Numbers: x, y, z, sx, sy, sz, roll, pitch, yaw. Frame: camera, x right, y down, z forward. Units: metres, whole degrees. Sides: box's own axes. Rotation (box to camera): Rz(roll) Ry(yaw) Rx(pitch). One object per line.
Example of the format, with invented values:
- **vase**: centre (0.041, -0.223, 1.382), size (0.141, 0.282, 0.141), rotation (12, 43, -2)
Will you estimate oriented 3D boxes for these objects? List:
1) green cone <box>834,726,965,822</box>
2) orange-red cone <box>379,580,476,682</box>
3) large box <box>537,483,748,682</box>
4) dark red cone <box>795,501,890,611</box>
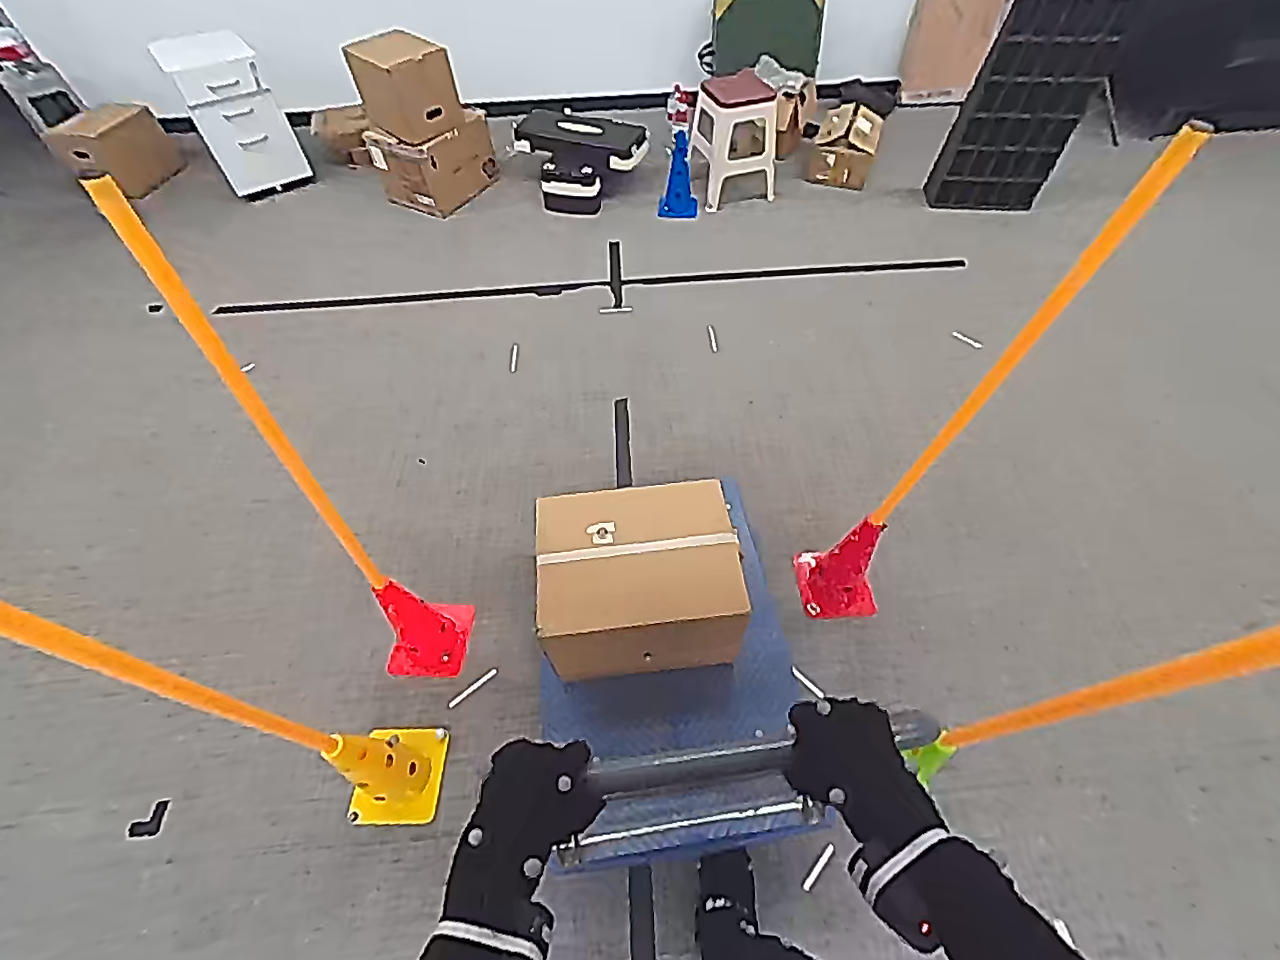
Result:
- **green cone**: centre (0.568, 0.583, 1.127), size (0.202, 0.368, 0.200), rotation (0, 54, 0)
- **orange-red cone**: centre (-0.566, 0.343, 1.347), size (0.198, 0.360, 0.199), rotation (3, 52, 3)
- **large box**: centre (-0.001, 0.239, 1.221), size (0.408, 0.320, 0.320), rotation (-7, 54, -1)
- **dark red cone**: centre (0.556, 0.182, 1.401), size (0.201, 0.394, 0.202), rotation (-3, 54, -2)
